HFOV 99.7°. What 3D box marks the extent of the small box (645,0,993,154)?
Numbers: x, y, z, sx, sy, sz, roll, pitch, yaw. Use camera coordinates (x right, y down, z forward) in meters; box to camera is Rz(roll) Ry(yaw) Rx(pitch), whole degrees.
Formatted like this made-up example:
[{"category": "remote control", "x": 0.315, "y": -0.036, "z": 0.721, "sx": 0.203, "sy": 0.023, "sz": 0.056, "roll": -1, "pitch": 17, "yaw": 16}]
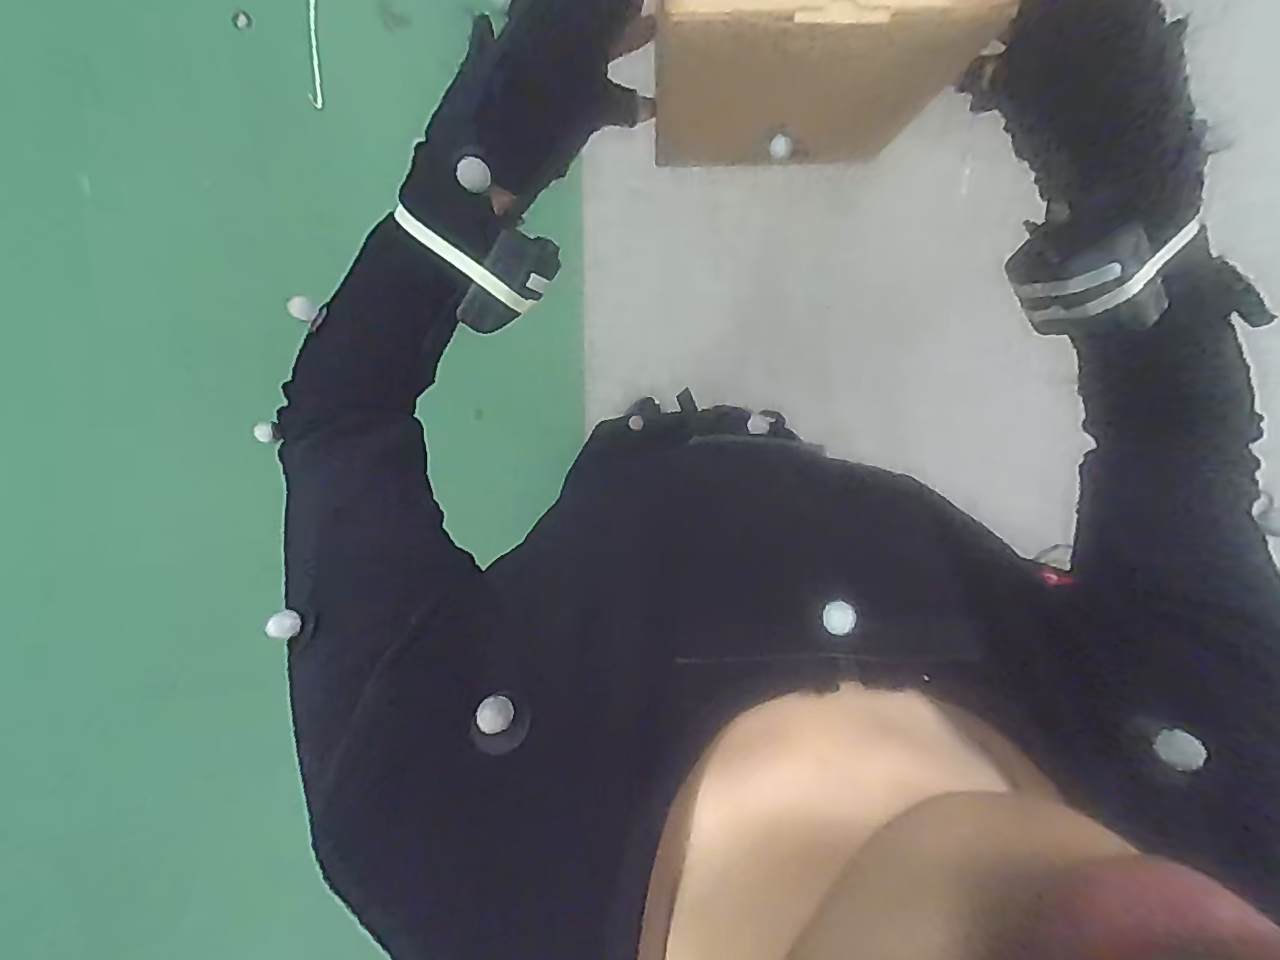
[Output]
[{"category": "small box", "x": 0.086, "y": -0.317, "z": 0.307, "sx": 0.168, "sy": 0.176, "sz": 0.179, "roll": 0, "pitch": 98, "yaw": 2}]
